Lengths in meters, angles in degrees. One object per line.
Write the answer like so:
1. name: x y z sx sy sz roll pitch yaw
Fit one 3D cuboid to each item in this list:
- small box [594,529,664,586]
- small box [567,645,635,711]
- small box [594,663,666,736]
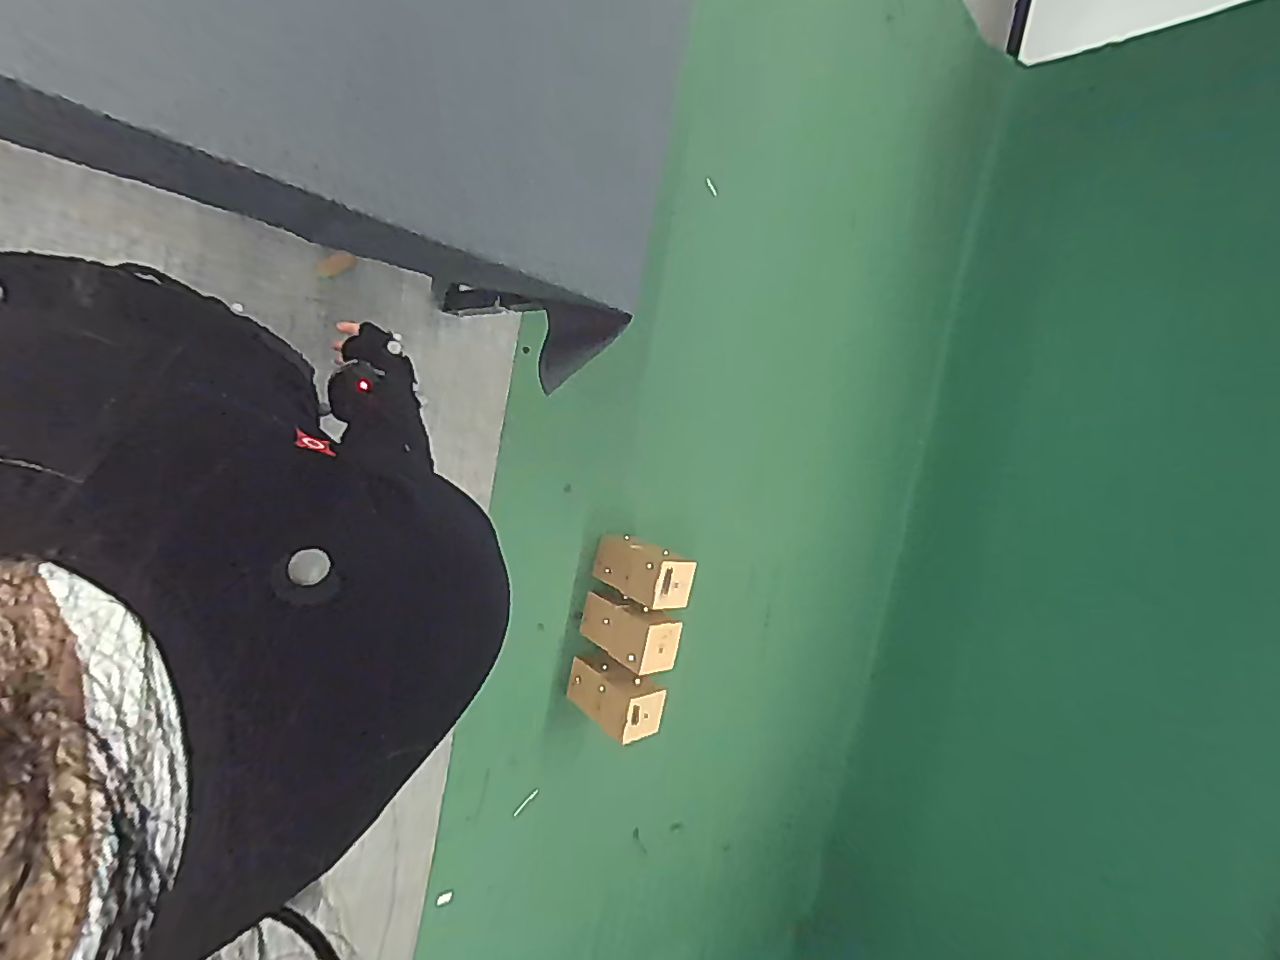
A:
1. small box: -0.046 0.284 2.002 0.179 0.176 0.168 12 93 -43
2. small box: -0.146 0.738 2.036 0.179 0.176 0.168 6 98 -42
3. small box: -0.040 0.771 1.916 0.179 0.176 0.168 5 98 -43
